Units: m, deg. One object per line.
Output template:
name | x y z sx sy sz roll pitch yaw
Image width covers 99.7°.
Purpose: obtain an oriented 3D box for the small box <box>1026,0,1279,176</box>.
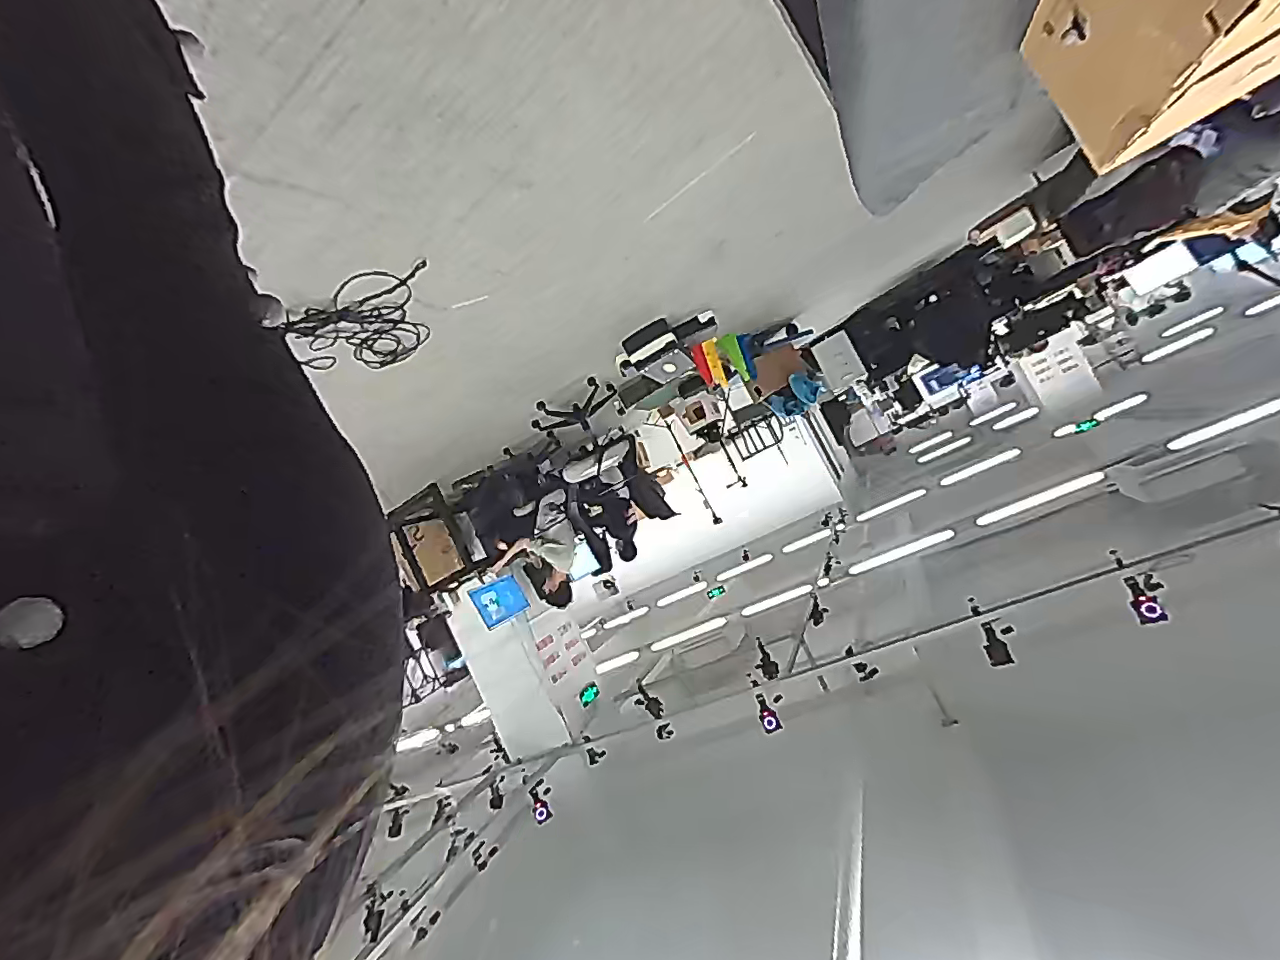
small box | 0.483 -0.417 0.463 0.179 0.176 0.168 -28 176 23
